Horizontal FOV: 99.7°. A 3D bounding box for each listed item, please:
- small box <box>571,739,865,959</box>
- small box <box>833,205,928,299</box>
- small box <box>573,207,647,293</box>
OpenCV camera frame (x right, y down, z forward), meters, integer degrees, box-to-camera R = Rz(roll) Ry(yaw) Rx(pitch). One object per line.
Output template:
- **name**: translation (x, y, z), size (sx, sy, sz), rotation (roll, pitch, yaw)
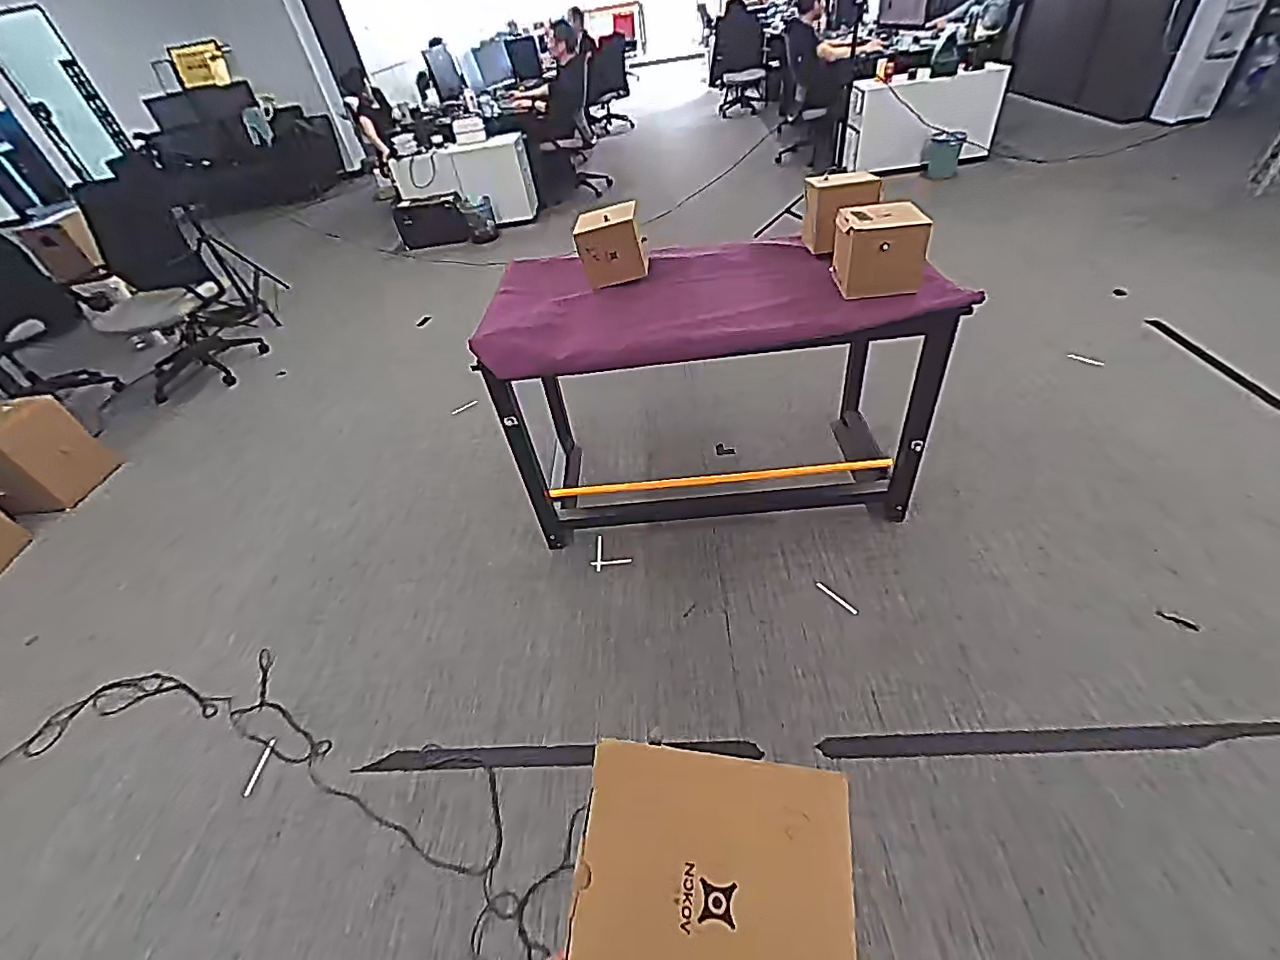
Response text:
- **small box**: translation (0.057, 0.299, 0.403), size (0.179, 0.176, 0.168), rotation (2, 60, 10)
- **small box**: translation (0.586, -0.565, 1.346), size (0.179, 0.176, 0.168), rotation (-4, 41, 7)
- **small box**: translation (-0.081, -0.679, 1.587), size (0.179, 0.168, 0.176), rotation (-9, 40, 12)
